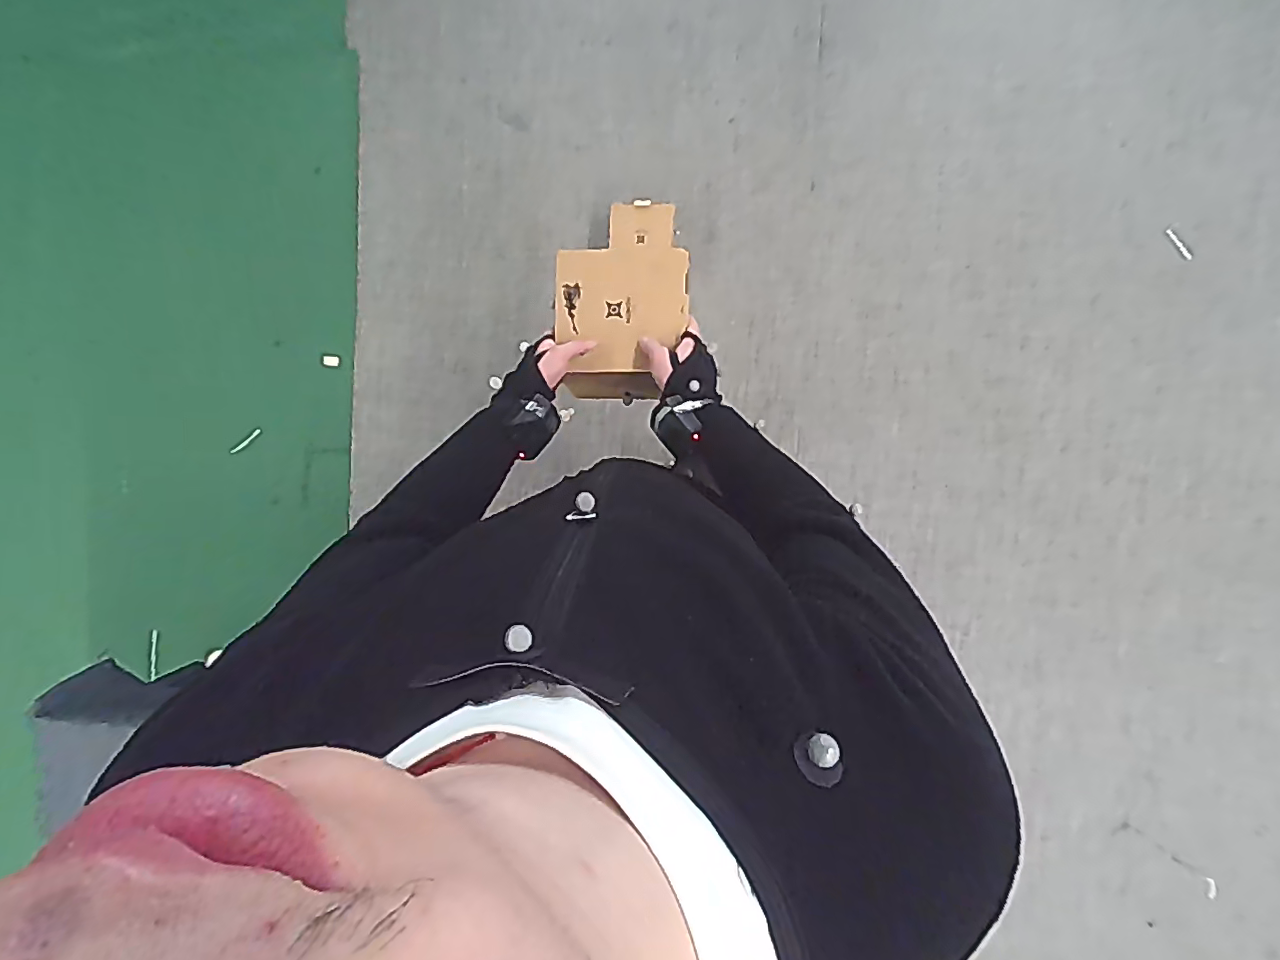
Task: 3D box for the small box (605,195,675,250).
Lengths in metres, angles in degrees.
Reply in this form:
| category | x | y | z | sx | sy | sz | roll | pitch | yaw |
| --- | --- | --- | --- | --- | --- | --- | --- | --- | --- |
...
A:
| category | x | y | z | sx | sy | sz | roll | pitch | yaw |
| --- | --- | --- | --- | --- | --- | --- | --- | --- | --- |
| small box | 0.005 | -0.633 | 1.448 | 0.168 | 0.176 | 0.179 | 5 | 94 | 6 |

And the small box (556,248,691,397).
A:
| category | x | y | z | sx | sy | sz | roll | pitch | yaw |
| --- | --- | --- | --- | --- | --- | --- | --- | --- | --- |
| small box | -0.021 | -0.219 | 0.788 | 0.179 | 0.176 | 0.168 | 1 | 87 | 2 |
